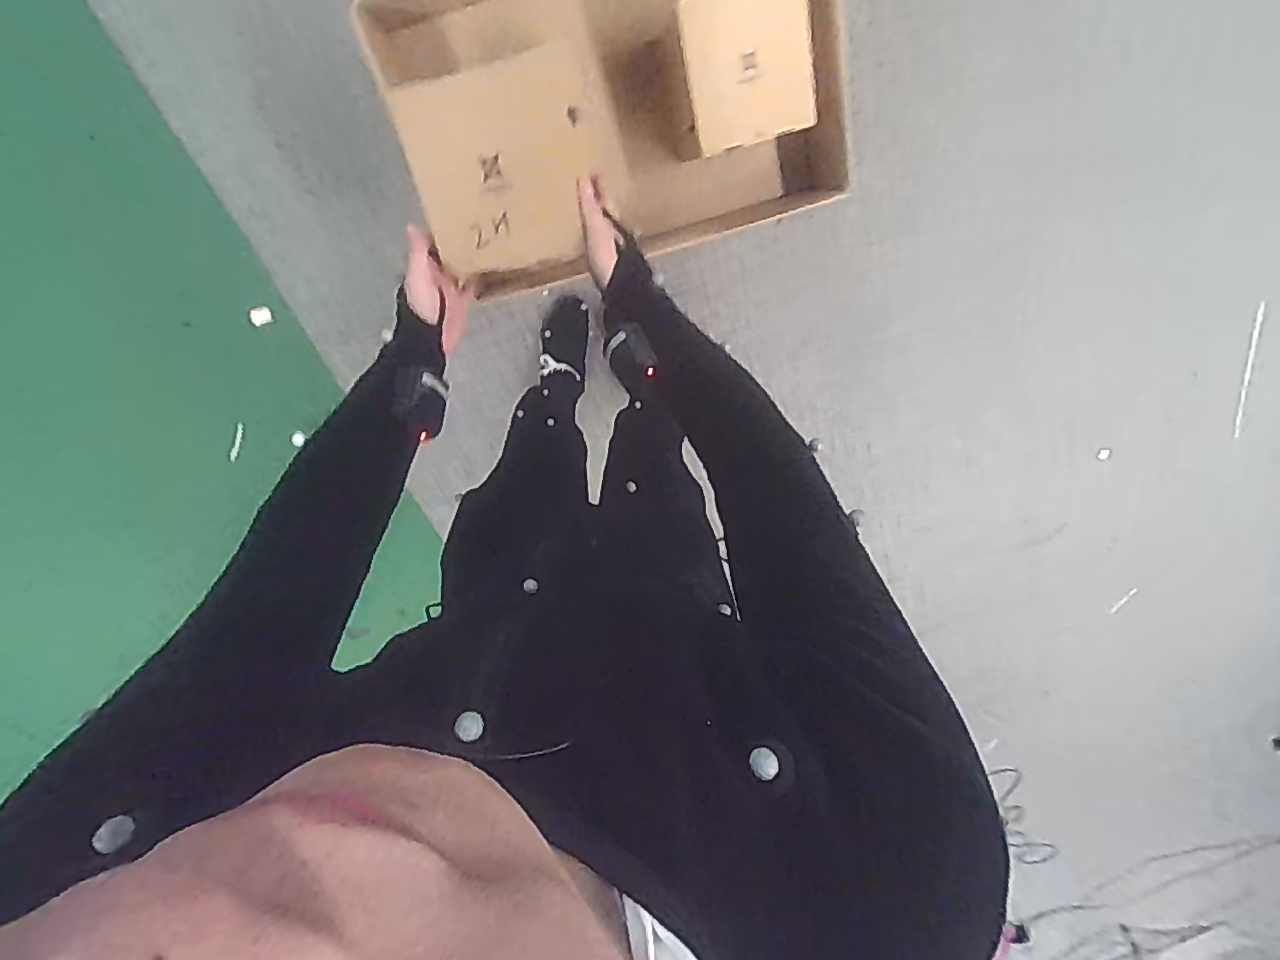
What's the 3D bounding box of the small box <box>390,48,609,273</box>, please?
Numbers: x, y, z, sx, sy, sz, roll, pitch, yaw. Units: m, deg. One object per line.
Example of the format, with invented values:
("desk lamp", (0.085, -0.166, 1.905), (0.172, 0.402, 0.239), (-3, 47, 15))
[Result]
("small box", (-0.139, -0.349, 0.609), (0.168, 0.176, 0.179), (-5, 121, 10))
